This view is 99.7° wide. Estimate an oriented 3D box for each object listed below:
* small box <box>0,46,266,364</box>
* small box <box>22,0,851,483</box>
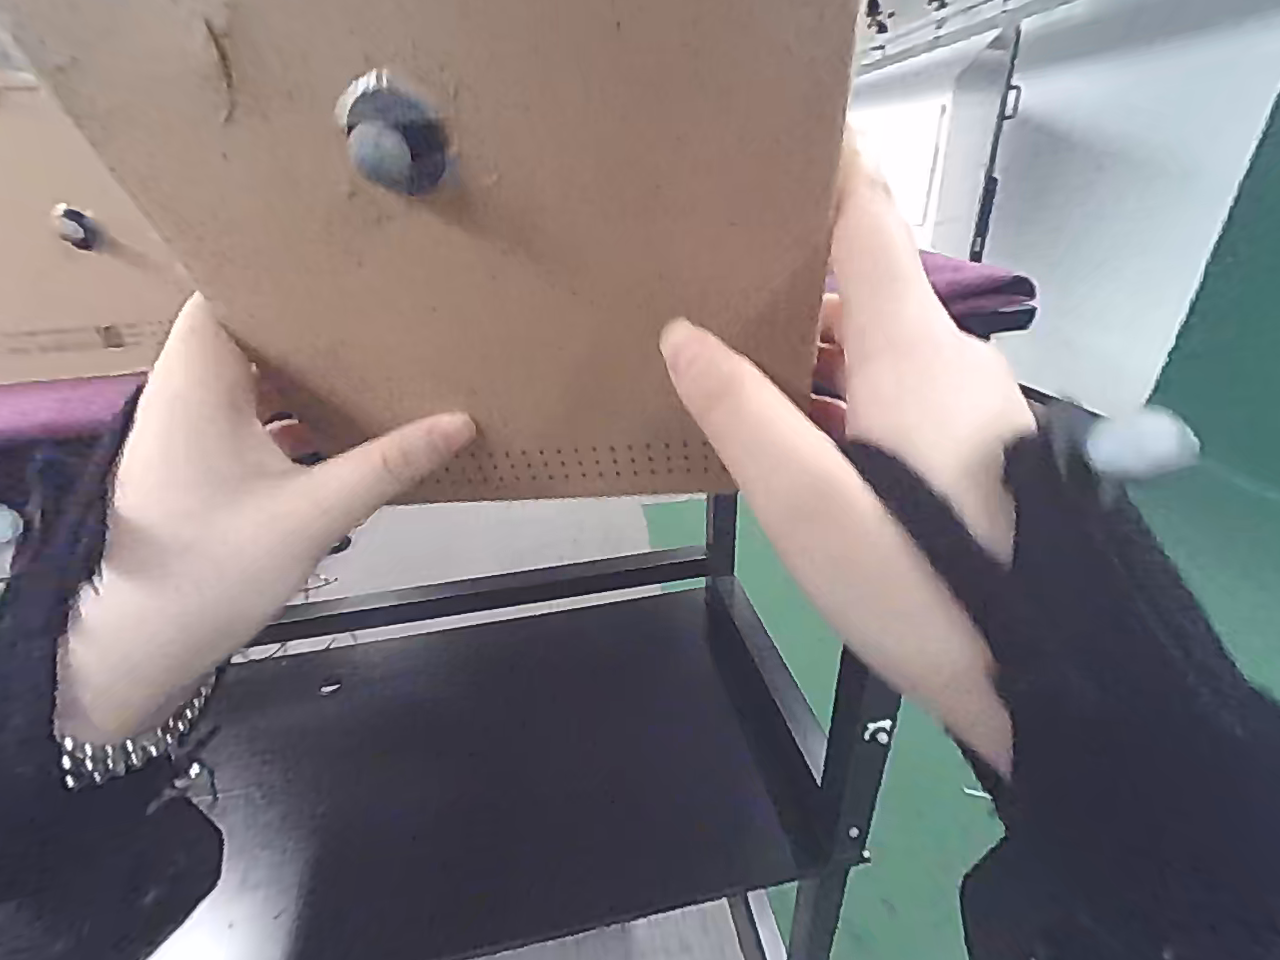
[{"bbox_3d":[-0.377,-0.183,0.387,0.168,0.176,0.179,-6,28,-6],"label":"small box"},{"bbox_3d":[-0.030,-0.111,0.197,0.179,0.176,0.168,-2,48,8],"label":"small box"}]
